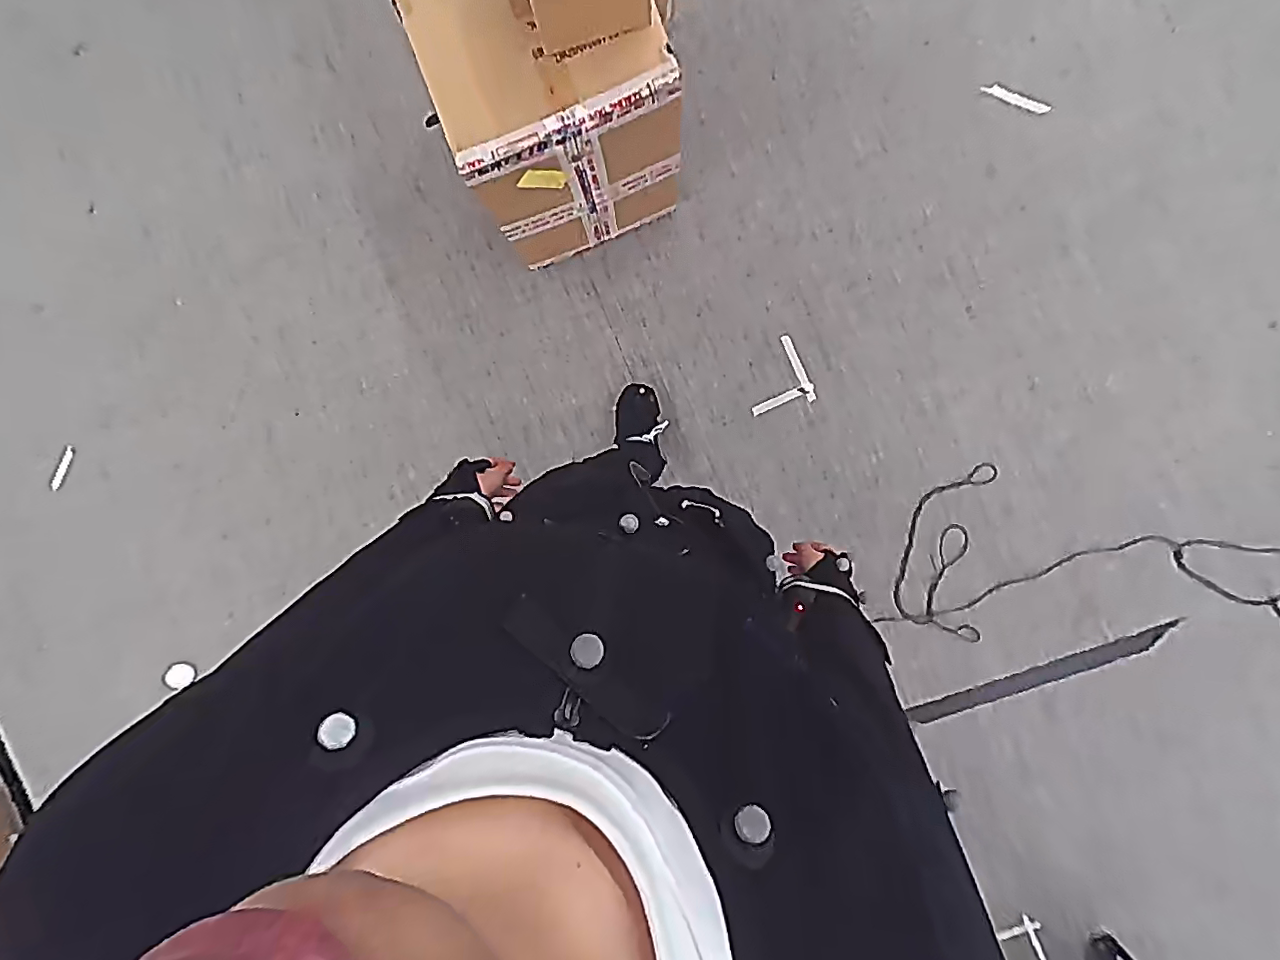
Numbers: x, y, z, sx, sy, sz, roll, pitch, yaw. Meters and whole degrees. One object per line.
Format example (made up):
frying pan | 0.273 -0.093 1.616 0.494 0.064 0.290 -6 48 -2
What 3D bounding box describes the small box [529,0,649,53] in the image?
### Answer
small box | -0.089 -0.757 0.762 0.179 0.176 0.168 -16 93 1
